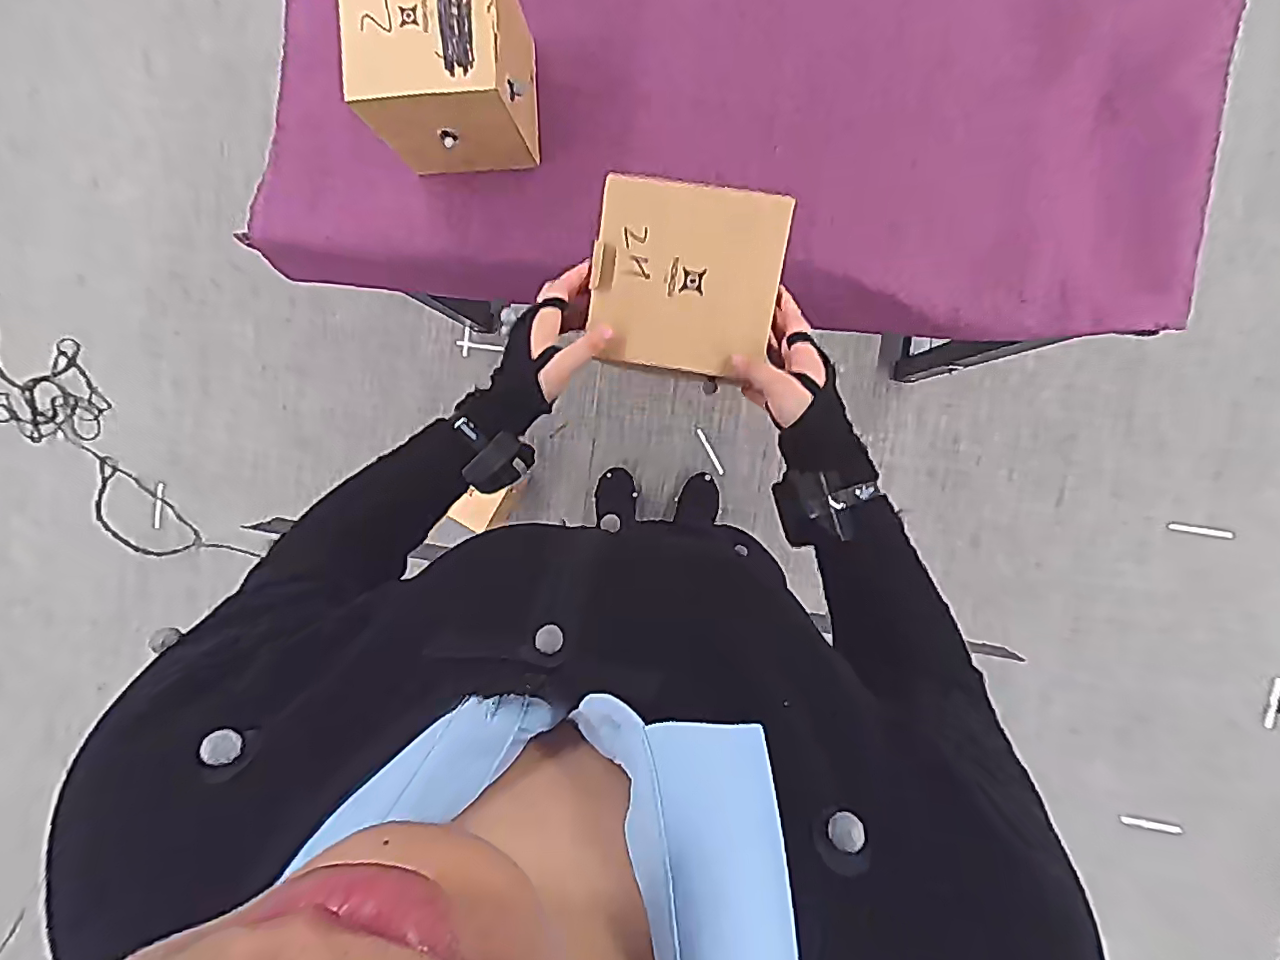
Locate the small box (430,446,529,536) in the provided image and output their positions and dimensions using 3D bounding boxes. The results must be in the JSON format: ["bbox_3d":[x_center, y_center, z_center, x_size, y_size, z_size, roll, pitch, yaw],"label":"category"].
[{"bbox_3d":[-0.418,0.024,1.444,0.168,0.176,0.179,30,95,1],"label":"small box"}]

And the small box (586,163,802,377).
[{"bbox_3d":[0.055,-0.204,0.574,0.179,0.176,0.168,10,98,5],"label":"small box"}]
